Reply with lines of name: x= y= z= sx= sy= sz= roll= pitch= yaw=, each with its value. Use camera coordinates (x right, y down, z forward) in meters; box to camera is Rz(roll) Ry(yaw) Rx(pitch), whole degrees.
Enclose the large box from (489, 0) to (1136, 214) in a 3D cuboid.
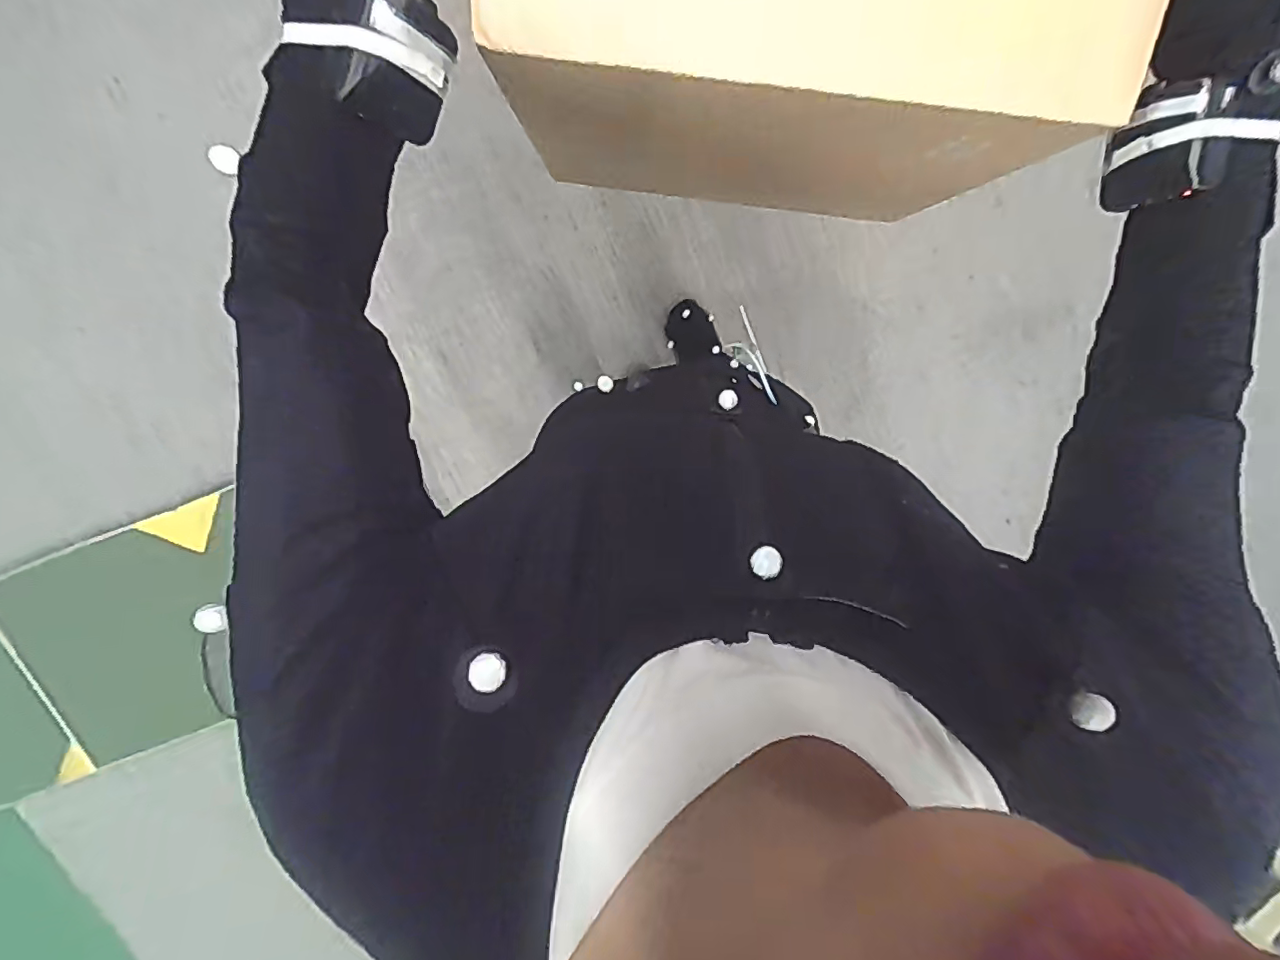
large box: x=0.109 y=-0.433 z=0.445 sx=0.408 sy=0.320 sz=0.320 roll=5 pitch=105 yaw=-3
